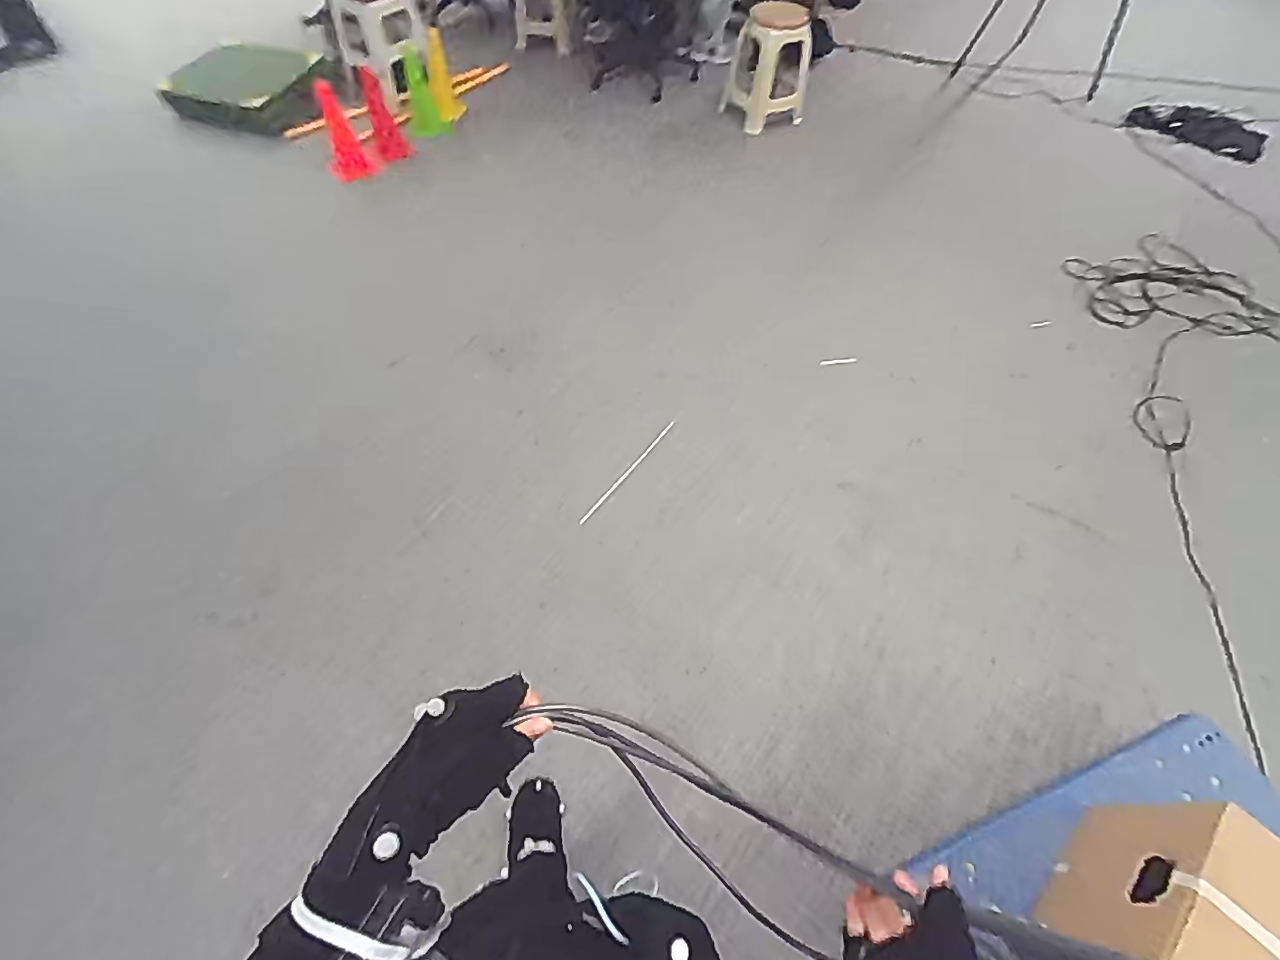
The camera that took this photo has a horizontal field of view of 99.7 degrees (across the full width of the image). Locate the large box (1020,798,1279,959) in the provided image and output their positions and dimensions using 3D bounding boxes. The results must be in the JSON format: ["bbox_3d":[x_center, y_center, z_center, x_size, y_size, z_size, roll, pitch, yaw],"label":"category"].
[{"bbox_3d":[0.942,0.790,0.853,0.320,0.320,0.408,-38,65,-22],"label":"large box"}]
